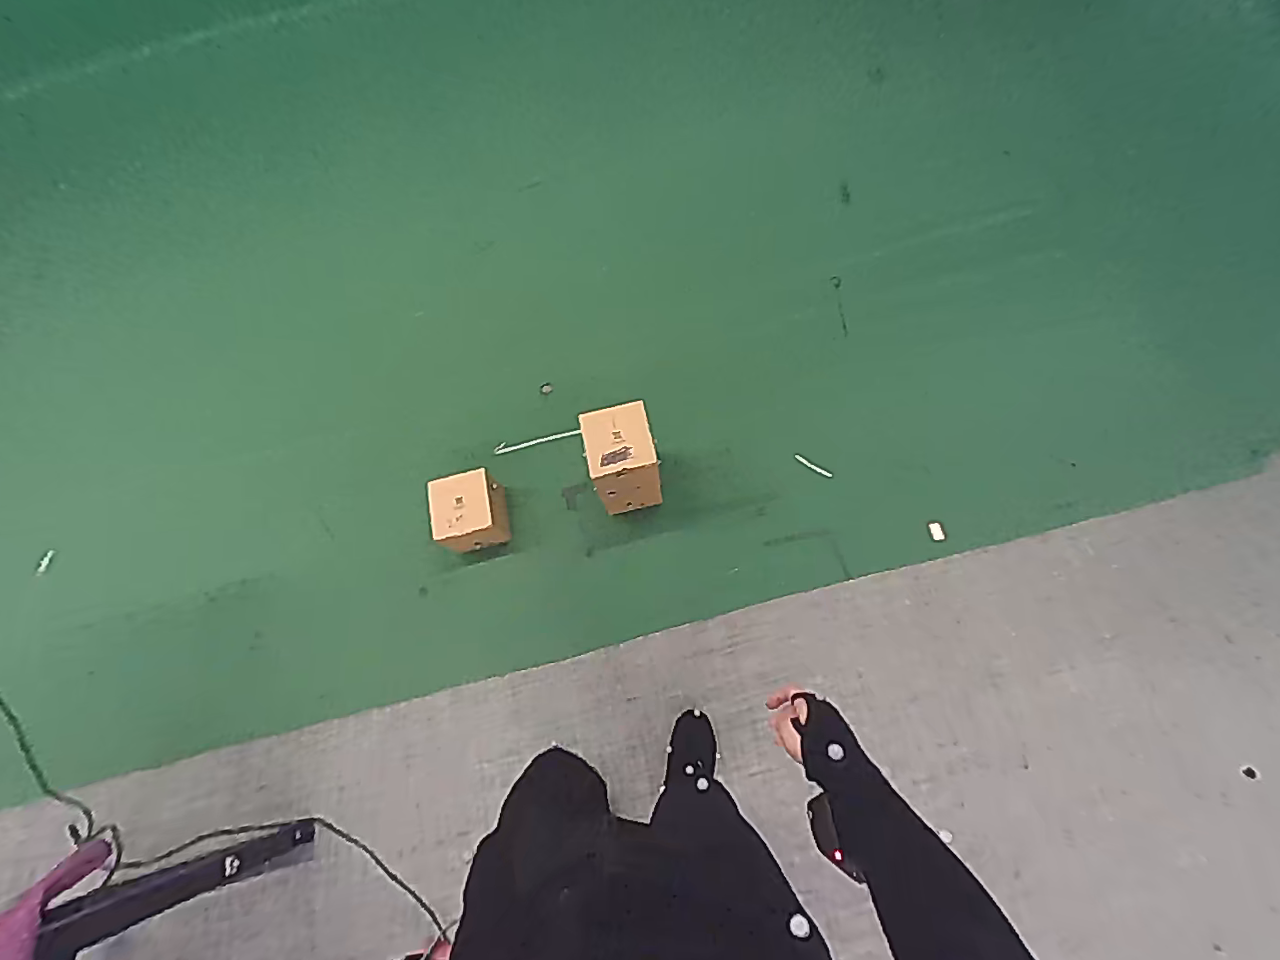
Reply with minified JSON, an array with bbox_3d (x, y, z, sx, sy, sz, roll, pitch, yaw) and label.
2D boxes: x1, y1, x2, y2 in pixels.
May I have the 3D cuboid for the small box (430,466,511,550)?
[{"bbox_3d":[-0.481,0.084,1.544,0.168,0.176,0.179,-14,70,1],"label":"small box"}]

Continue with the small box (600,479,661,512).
[{"bbox_3d":[-0.037,-0.025,1.546,0.168,0.176,0.179,-13,71,0],"label":"small box"}]

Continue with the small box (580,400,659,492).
[{"bbox_3d":[-0.048,-0.077,1.391,0.168,0.176,0.179,-13,70,0],"label":"small box"}]
